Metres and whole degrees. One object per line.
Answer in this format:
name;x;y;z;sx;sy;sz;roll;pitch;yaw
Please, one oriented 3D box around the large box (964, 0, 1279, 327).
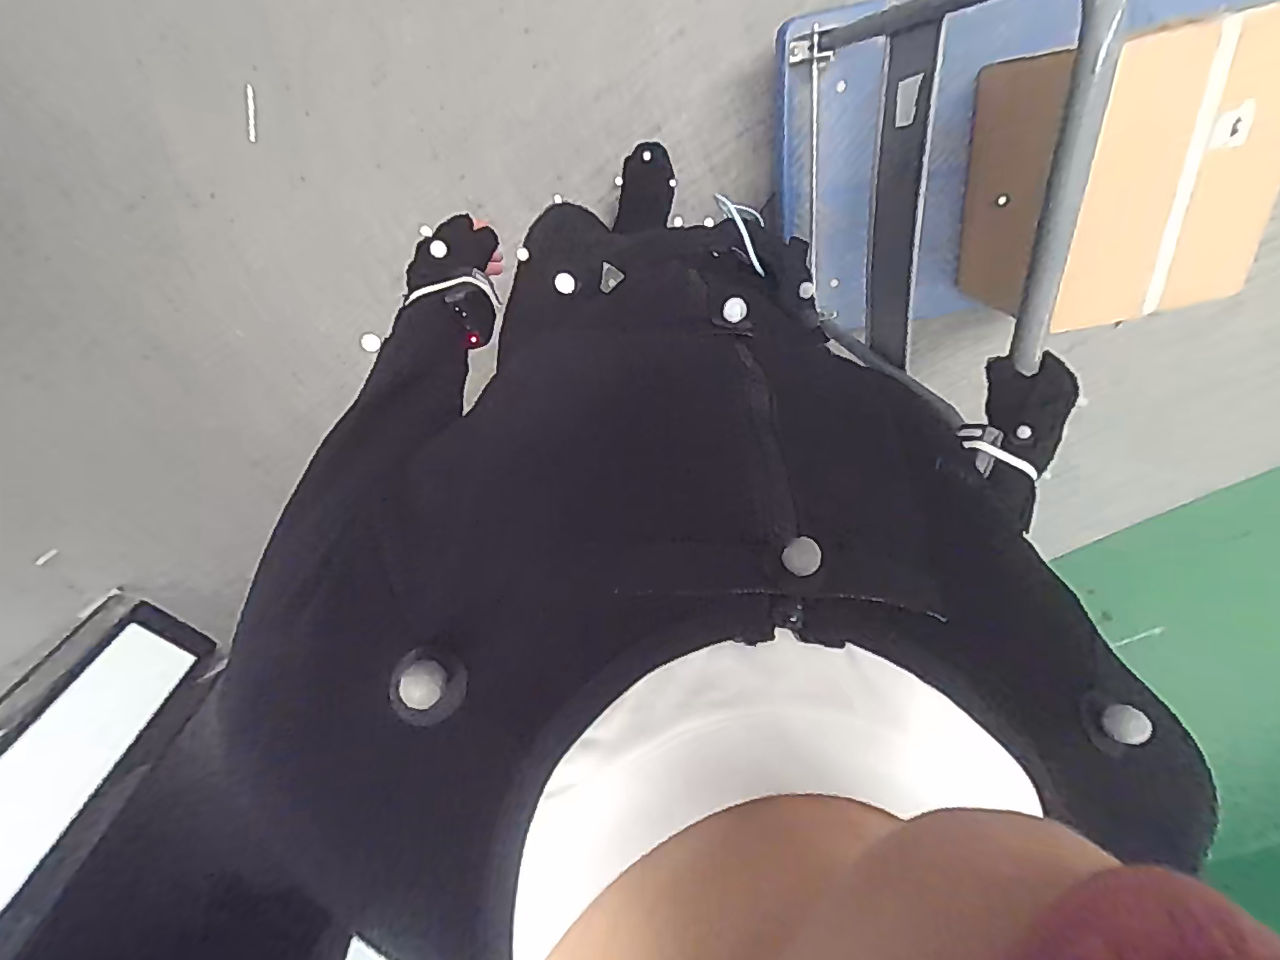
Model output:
large box;0.806;-0.533;0.935;0.320;0.320;0.408;-12;122;6
